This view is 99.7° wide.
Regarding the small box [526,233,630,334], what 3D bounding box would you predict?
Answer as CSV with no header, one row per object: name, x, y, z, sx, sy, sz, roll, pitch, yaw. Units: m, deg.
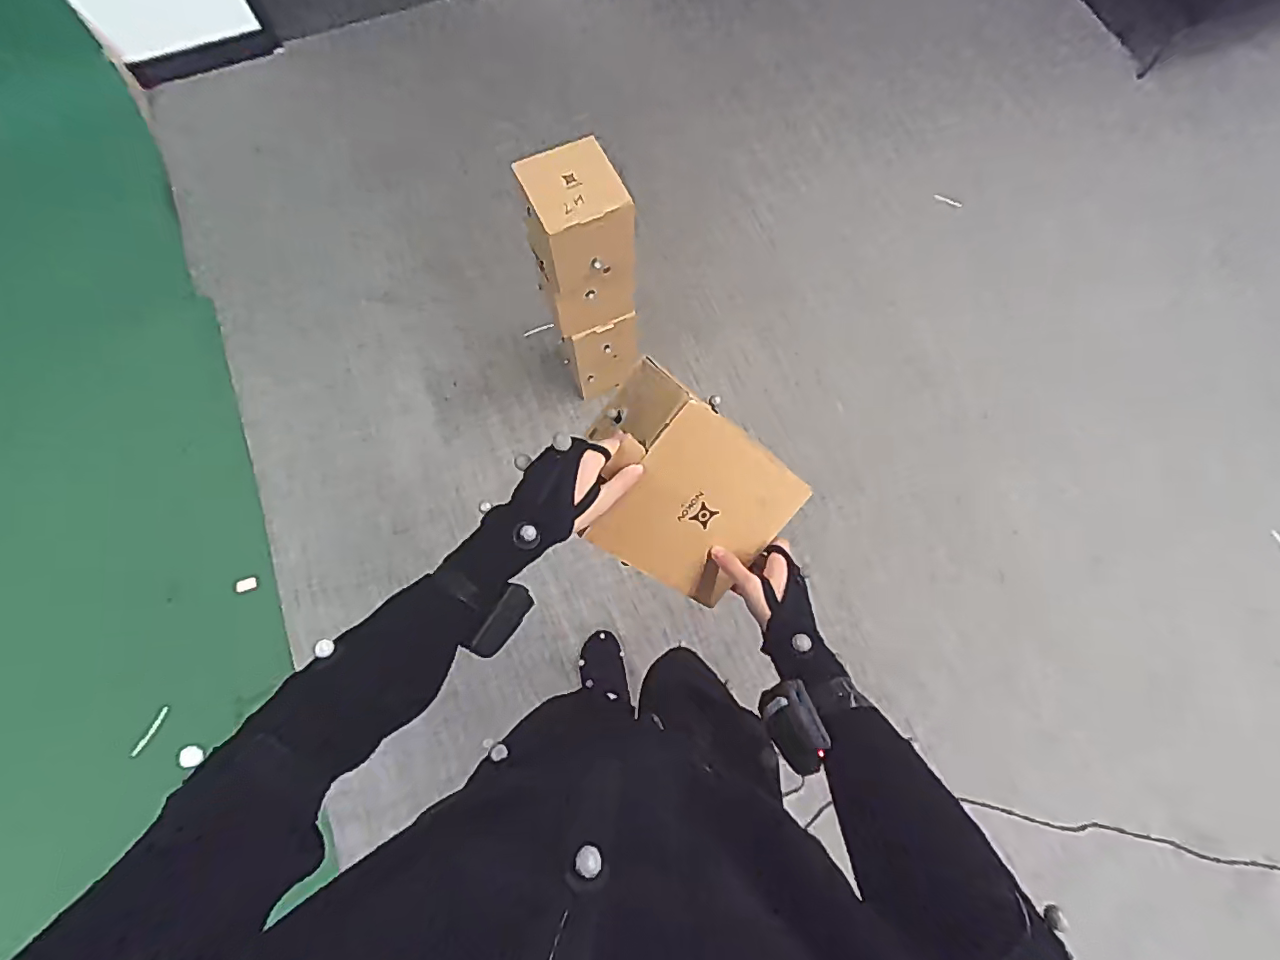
small box,-0.128,-0.451,1.193,0.179,0.176,0.168,-23,74,-8

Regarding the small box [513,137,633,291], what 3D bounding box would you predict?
small box,-0.124,-0.501,1.036,0.168,0.176,0.179,-24,74,-8

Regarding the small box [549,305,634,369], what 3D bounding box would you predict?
small box,-0.120,-0.399,1.350,0.168,0.176,0.179,-24,75,-9

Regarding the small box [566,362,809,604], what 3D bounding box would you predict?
small box,0.038,-0.005,0.585,0.179,0.176,0.168,33,103,-24
